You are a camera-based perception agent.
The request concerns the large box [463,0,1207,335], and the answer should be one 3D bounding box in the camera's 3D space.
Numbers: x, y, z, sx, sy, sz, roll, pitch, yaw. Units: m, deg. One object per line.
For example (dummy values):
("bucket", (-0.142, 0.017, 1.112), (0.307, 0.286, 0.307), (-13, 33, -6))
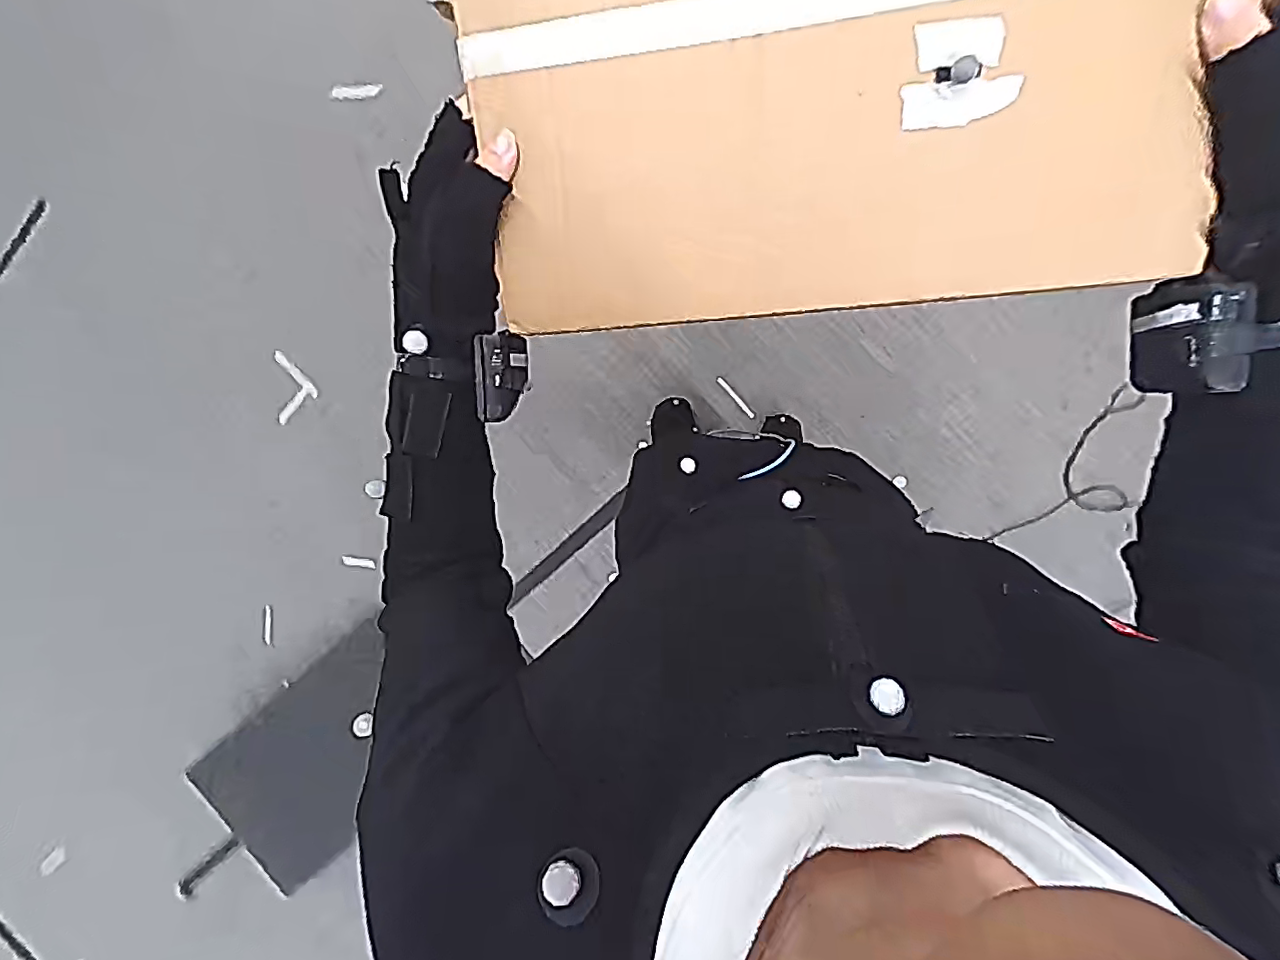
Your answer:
("large box", (0.110, -0.306, 0.442), (0.408, 0.320, 0.320), (-4, 108, 8))
